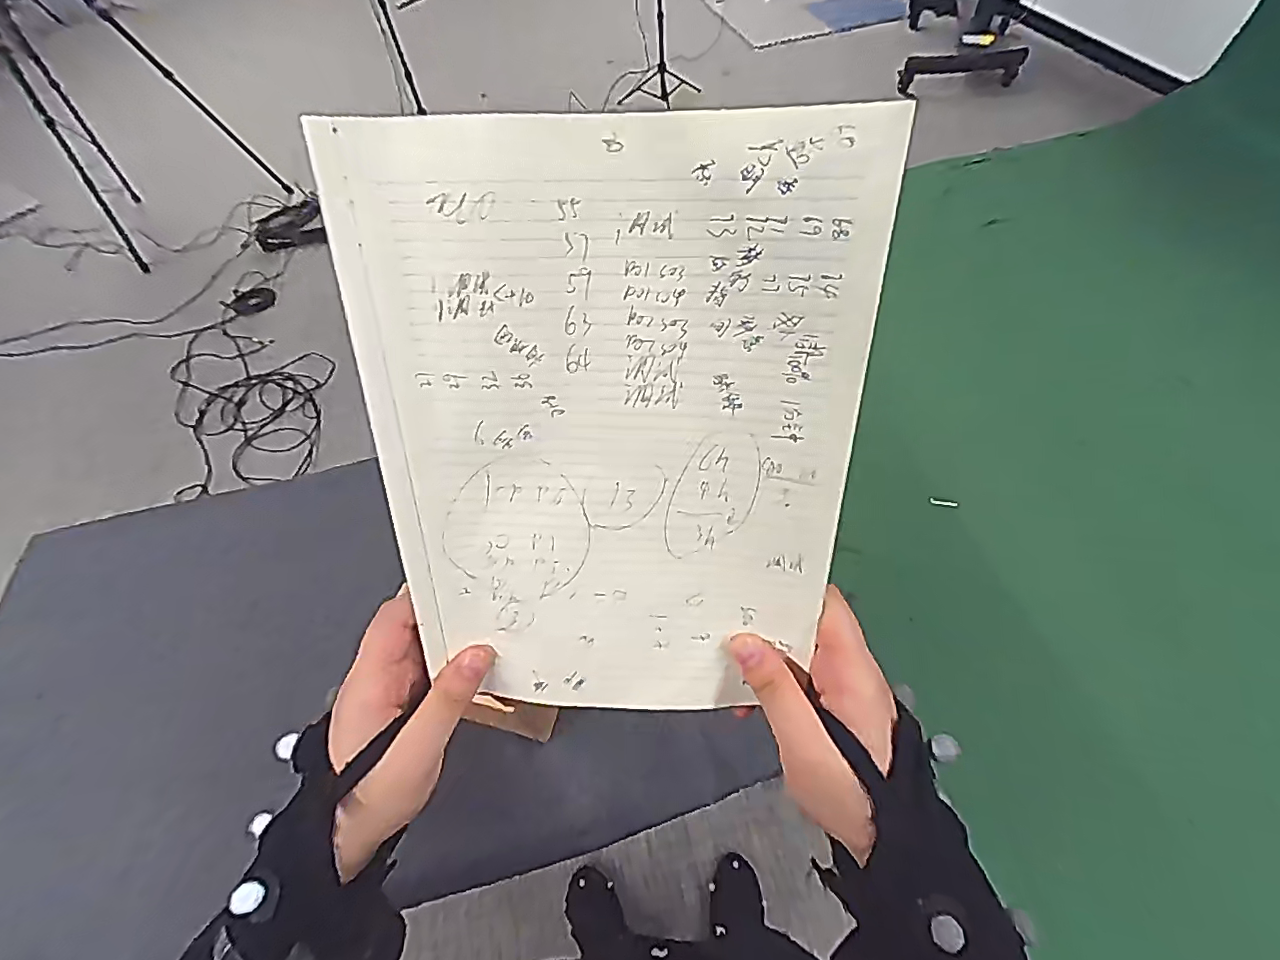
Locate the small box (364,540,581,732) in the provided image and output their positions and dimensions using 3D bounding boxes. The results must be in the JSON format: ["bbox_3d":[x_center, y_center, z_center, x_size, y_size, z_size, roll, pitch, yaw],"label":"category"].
[{"bbox_3d":[-0.184,0.196,0.663,0.179,0.176,0.168,9,57,12],"label":"small box"}]
